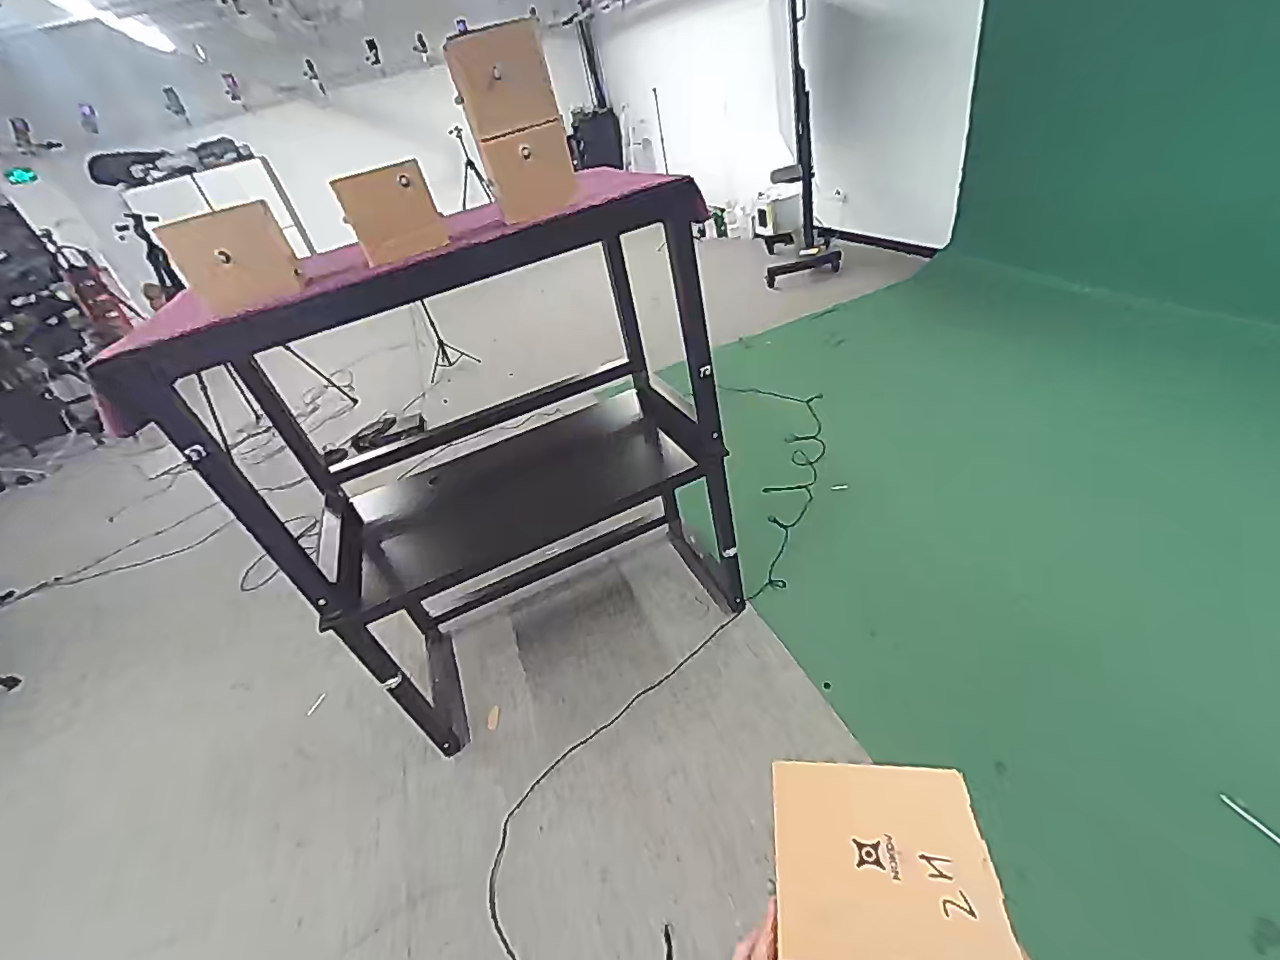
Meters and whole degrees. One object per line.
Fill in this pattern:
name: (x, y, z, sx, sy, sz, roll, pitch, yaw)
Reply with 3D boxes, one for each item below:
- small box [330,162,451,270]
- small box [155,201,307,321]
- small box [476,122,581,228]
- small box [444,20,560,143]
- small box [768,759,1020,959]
small box: (-0.530, -0.567, 1.162, 0.179, 0.176, 0.168, -23, 36, -12)
small box: (-0.806, -0.444, 1.091, 0.179, 0.176, 0.168, -25, 36, -13)
small box: (-0.250, -0.683, 1.215, 0.179, 0.176, 0.168, -21, 36, -8)
small box: (-0.286, -0.812, 1.121, 0.179, 0.176, 0.168, -23, 37, -8)
small box: (0.216, 0.387, 0.499, 0.179, 0.176, 0.168, -5, 30, 14)
